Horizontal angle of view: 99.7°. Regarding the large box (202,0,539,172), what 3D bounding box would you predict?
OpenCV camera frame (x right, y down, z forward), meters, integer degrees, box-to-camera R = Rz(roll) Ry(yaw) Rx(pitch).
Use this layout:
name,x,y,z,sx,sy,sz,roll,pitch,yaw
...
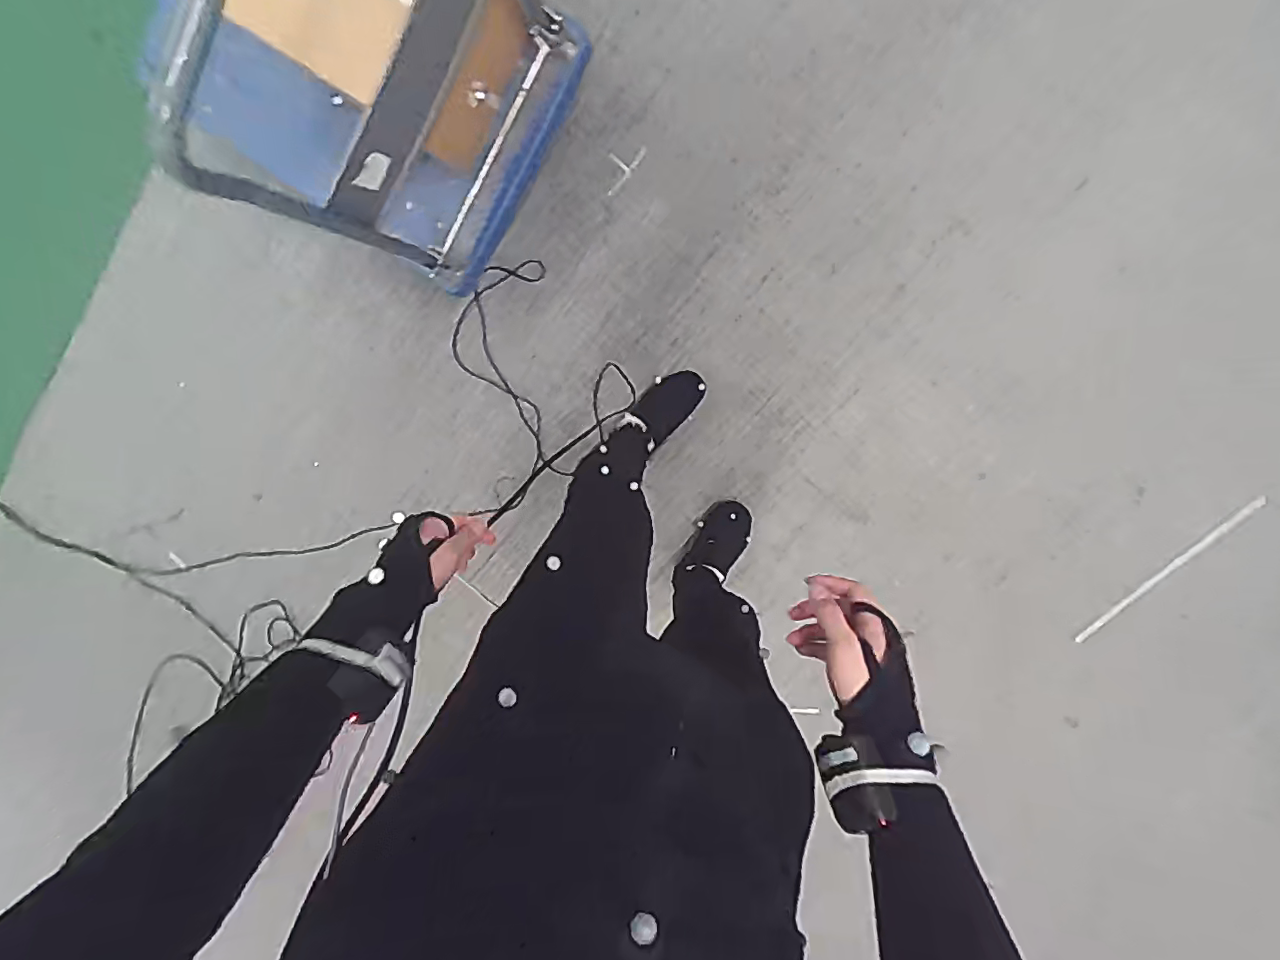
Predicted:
name,x,y,z,sx,sy,sz,roll,pitch,yaw
large box,-0.456,-0.829,0.947,0.408,0.320,0.320,33,104,2
